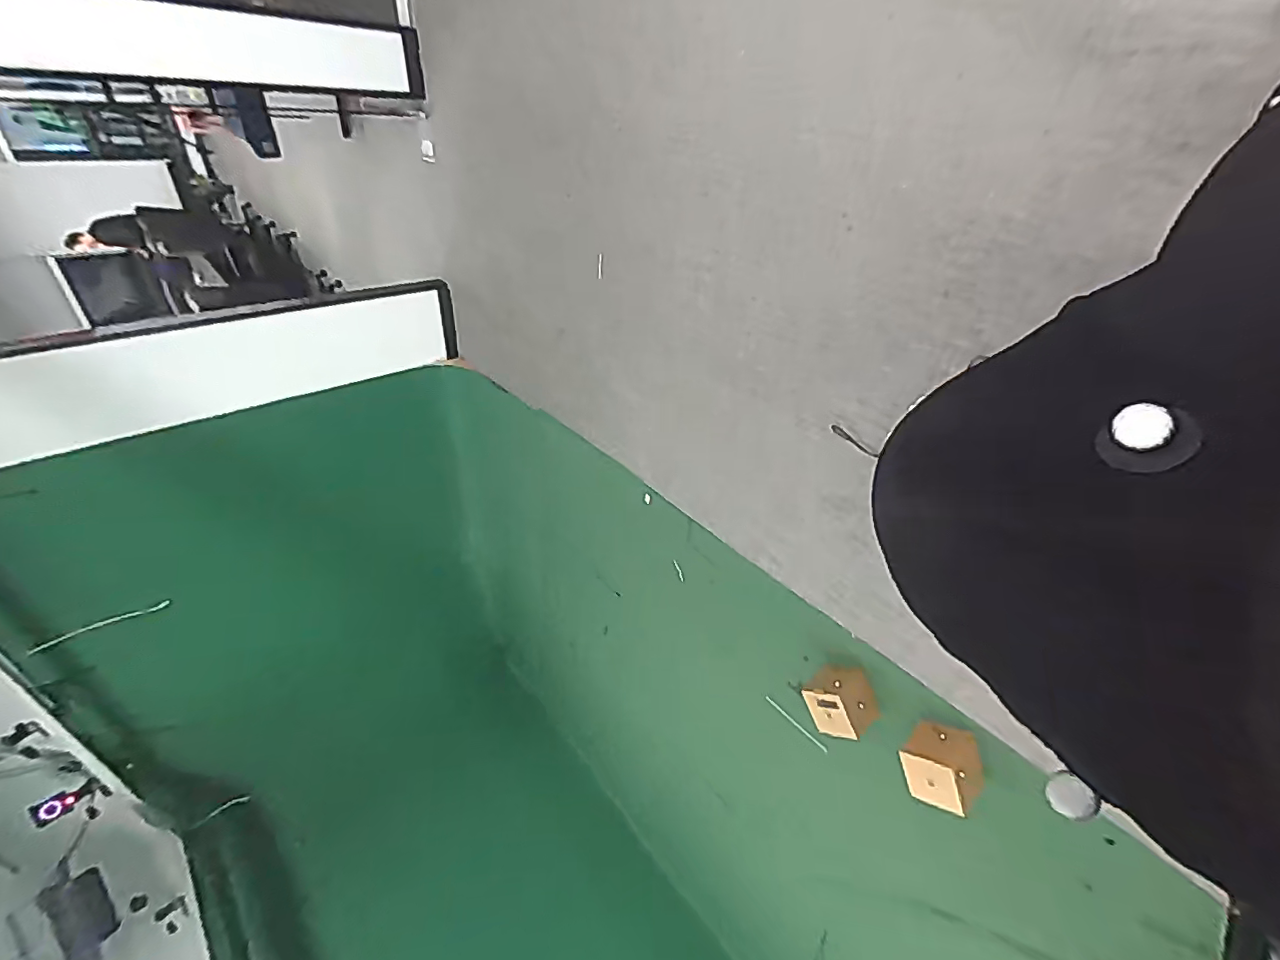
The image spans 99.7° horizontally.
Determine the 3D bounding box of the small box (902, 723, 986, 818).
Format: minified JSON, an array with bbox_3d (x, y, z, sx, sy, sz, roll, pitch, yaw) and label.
[{"bbox_3d":[0.973,0.919,1.725,0.168,0.176,0.179,-7,104,53],"label":"small box"}]
